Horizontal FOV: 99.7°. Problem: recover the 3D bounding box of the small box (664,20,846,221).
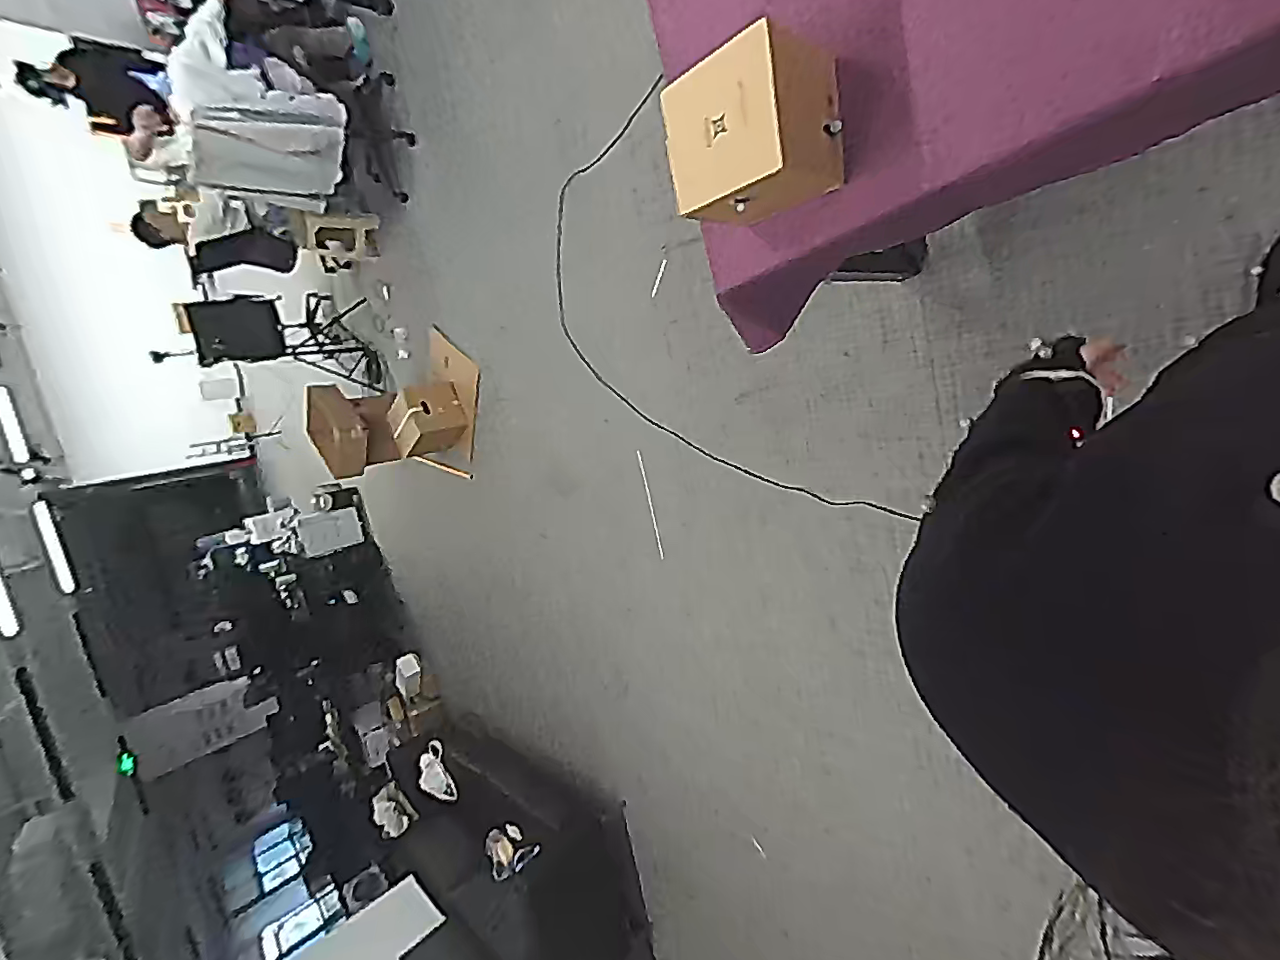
[{"bbox_3d":[0.160,-0.474,0.752,0.179,0.176,0.168,2,105,47],"label":"small box"}]
